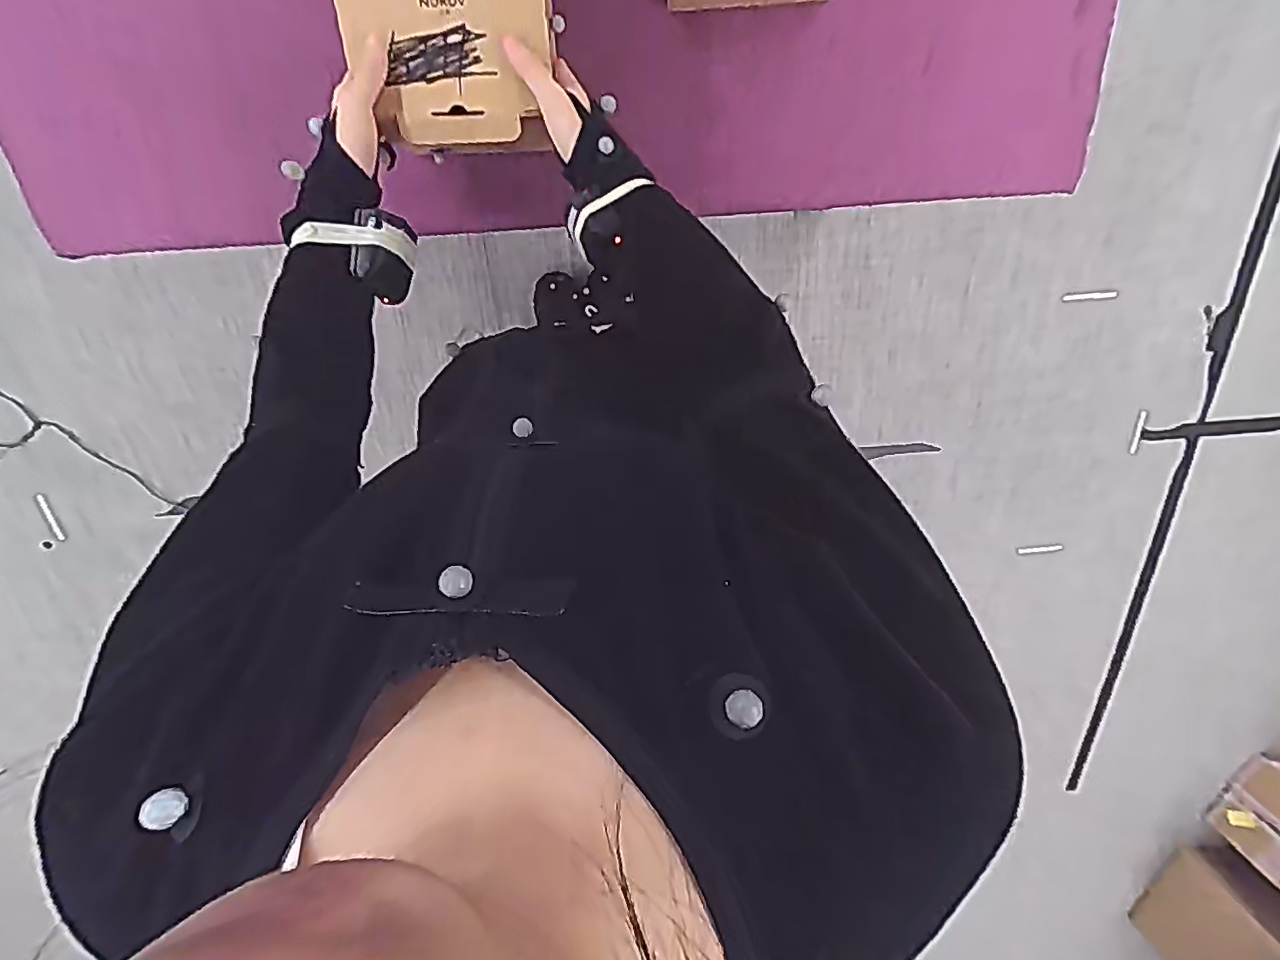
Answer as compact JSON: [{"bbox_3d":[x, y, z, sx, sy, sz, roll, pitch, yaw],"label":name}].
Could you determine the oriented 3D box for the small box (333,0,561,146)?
[{"bbox_3d":[-0.165,-0.419,0.496,0.168,0.176,0.179,-4,112,-3],"label":"small box"}]

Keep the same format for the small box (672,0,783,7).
[{"bbox_3d":[0.116,-0.551,0.469,0.179,0.176,0.168,-6,112,-2],"label":"small box"}]
